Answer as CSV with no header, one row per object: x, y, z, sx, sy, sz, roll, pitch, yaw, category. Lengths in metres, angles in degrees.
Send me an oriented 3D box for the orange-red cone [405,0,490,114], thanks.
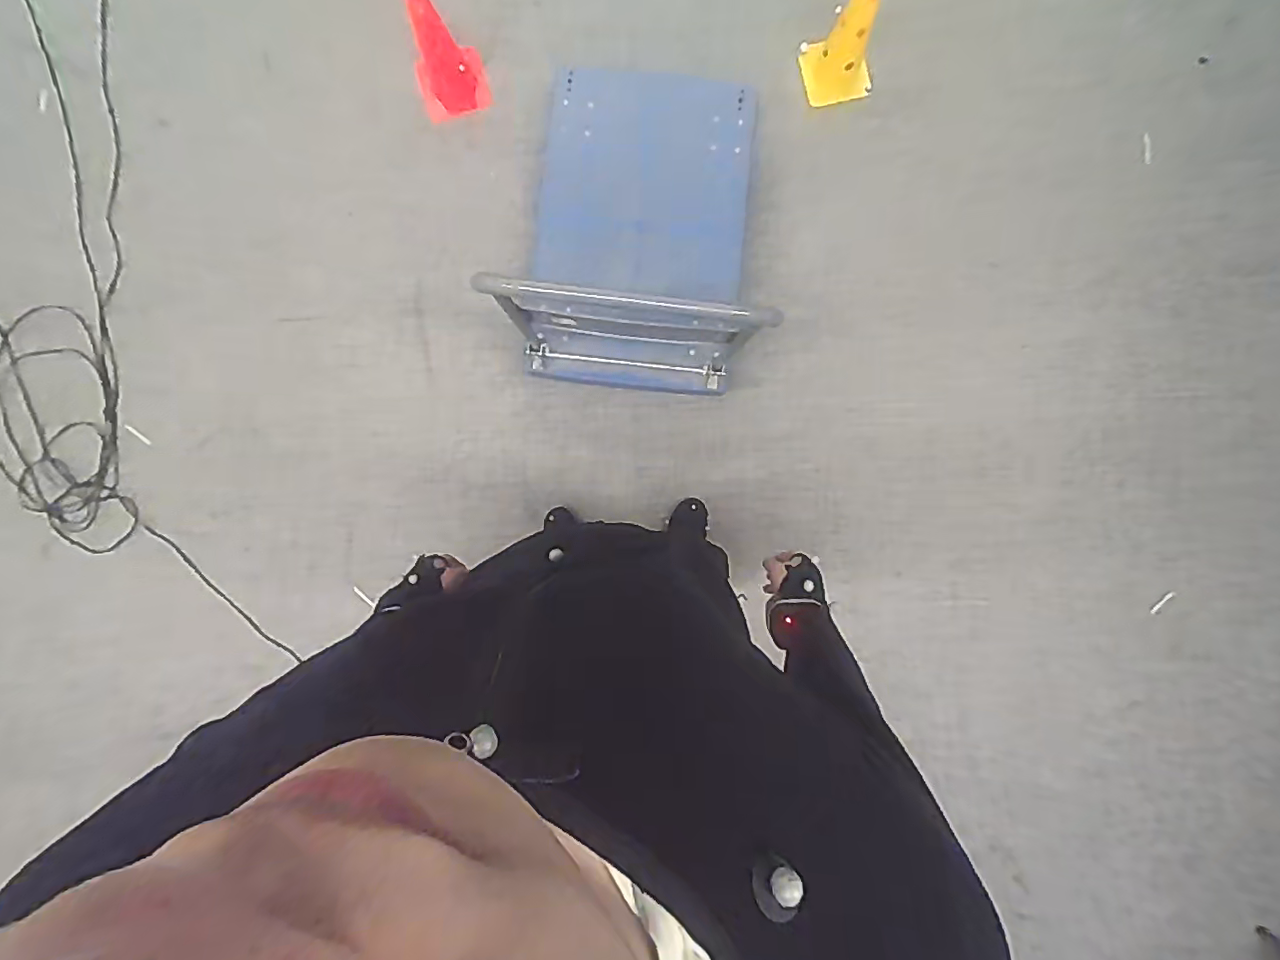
-0.579,-1.247,1.501,0.199,0.360,0.198,-16,88,1,orange-red cone
